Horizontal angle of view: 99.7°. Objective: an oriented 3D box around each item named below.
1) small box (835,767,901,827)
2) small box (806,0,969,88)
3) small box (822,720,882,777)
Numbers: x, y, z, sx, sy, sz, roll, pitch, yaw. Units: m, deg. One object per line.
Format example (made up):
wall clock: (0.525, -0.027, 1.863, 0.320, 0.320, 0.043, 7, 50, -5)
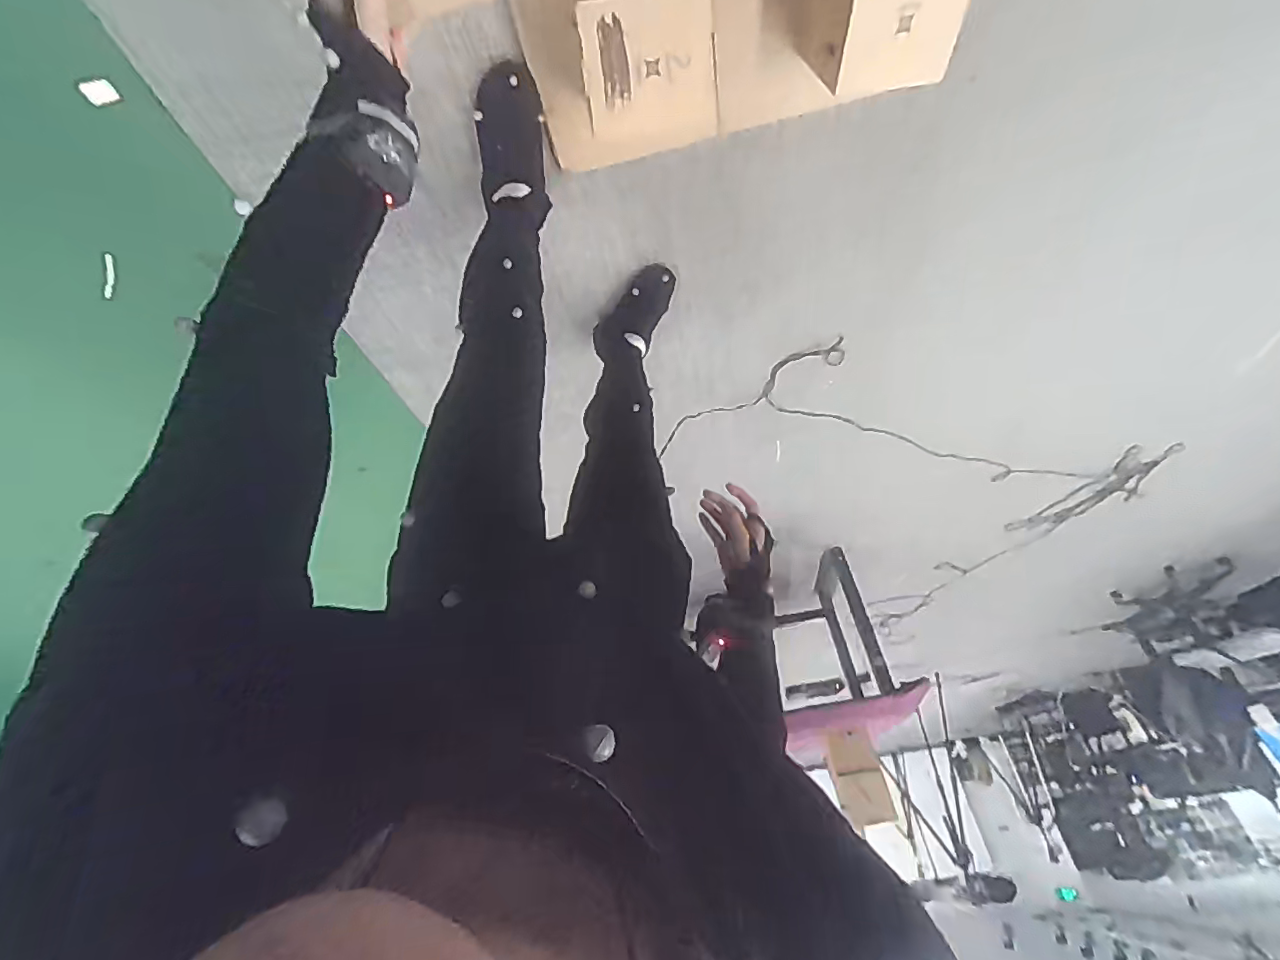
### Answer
small box: (0.840, 1.177, 2.012, 0.168, 0.176, 0.179, -12, 145, 4)
small box: (0.348, -0.696, 0.764, 0.168, 0.176, 0.179, -9, 145, -2)
small box: (0.822, 1.050, 2.114, 0.168, 0.176, 0.179, -13, 145, 5)
